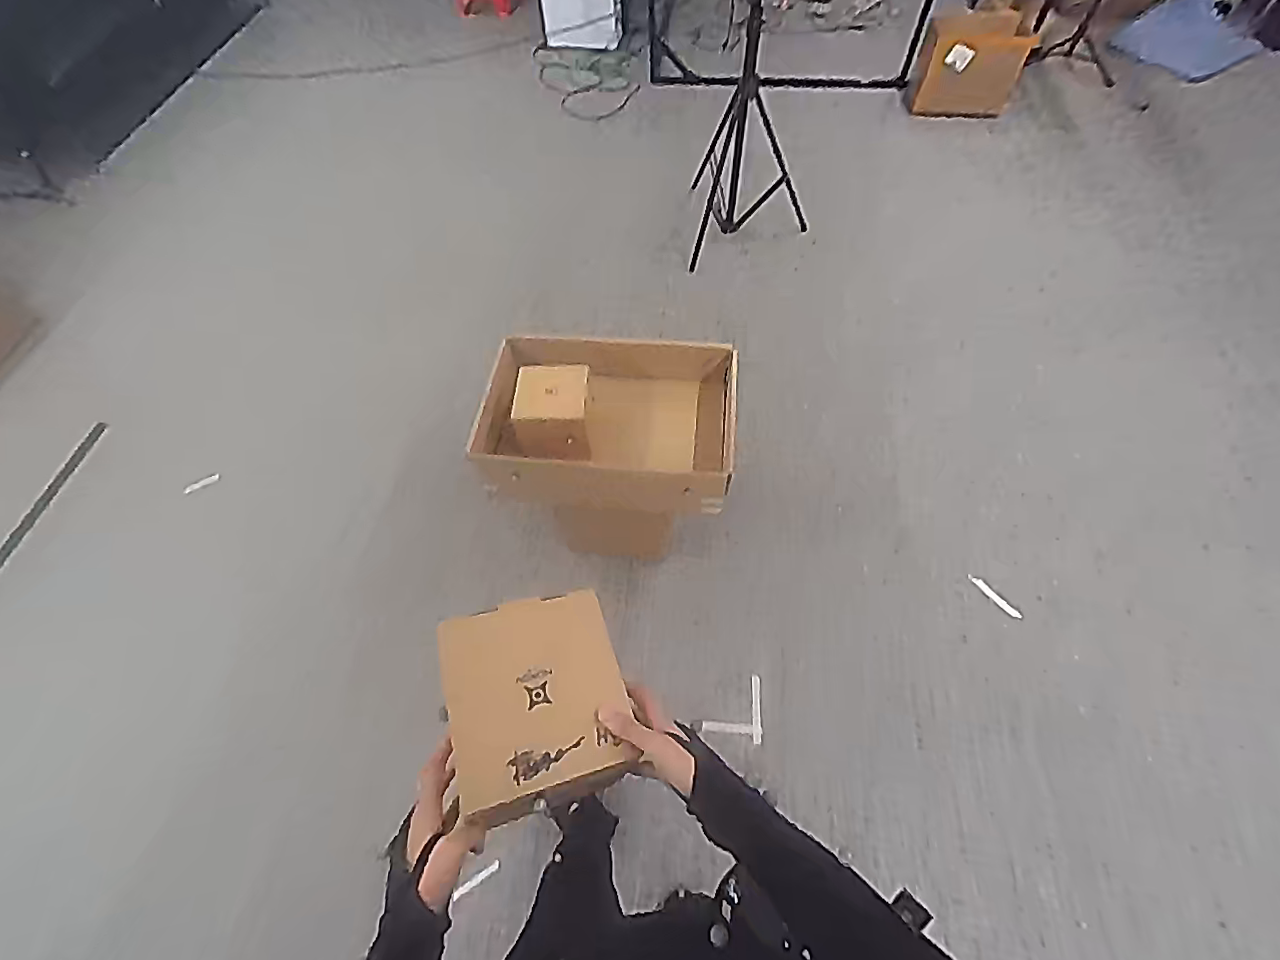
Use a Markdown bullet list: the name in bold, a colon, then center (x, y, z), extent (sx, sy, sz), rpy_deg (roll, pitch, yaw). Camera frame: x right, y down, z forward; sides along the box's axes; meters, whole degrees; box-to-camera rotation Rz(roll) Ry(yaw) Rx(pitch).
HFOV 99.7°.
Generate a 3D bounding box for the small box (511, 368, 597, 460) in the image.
- **small box**: center (-0.207, -0.162, 1.359), extent (0.179, 0.176, 0.168), rpy_deg (0, 58, 4)

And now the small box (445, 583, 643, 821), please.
- **small box**: center (-0.113, 0.239, 0.583), extent (0.168, 0.176, 0.179), rpy_deg (-8, 55, -19)
